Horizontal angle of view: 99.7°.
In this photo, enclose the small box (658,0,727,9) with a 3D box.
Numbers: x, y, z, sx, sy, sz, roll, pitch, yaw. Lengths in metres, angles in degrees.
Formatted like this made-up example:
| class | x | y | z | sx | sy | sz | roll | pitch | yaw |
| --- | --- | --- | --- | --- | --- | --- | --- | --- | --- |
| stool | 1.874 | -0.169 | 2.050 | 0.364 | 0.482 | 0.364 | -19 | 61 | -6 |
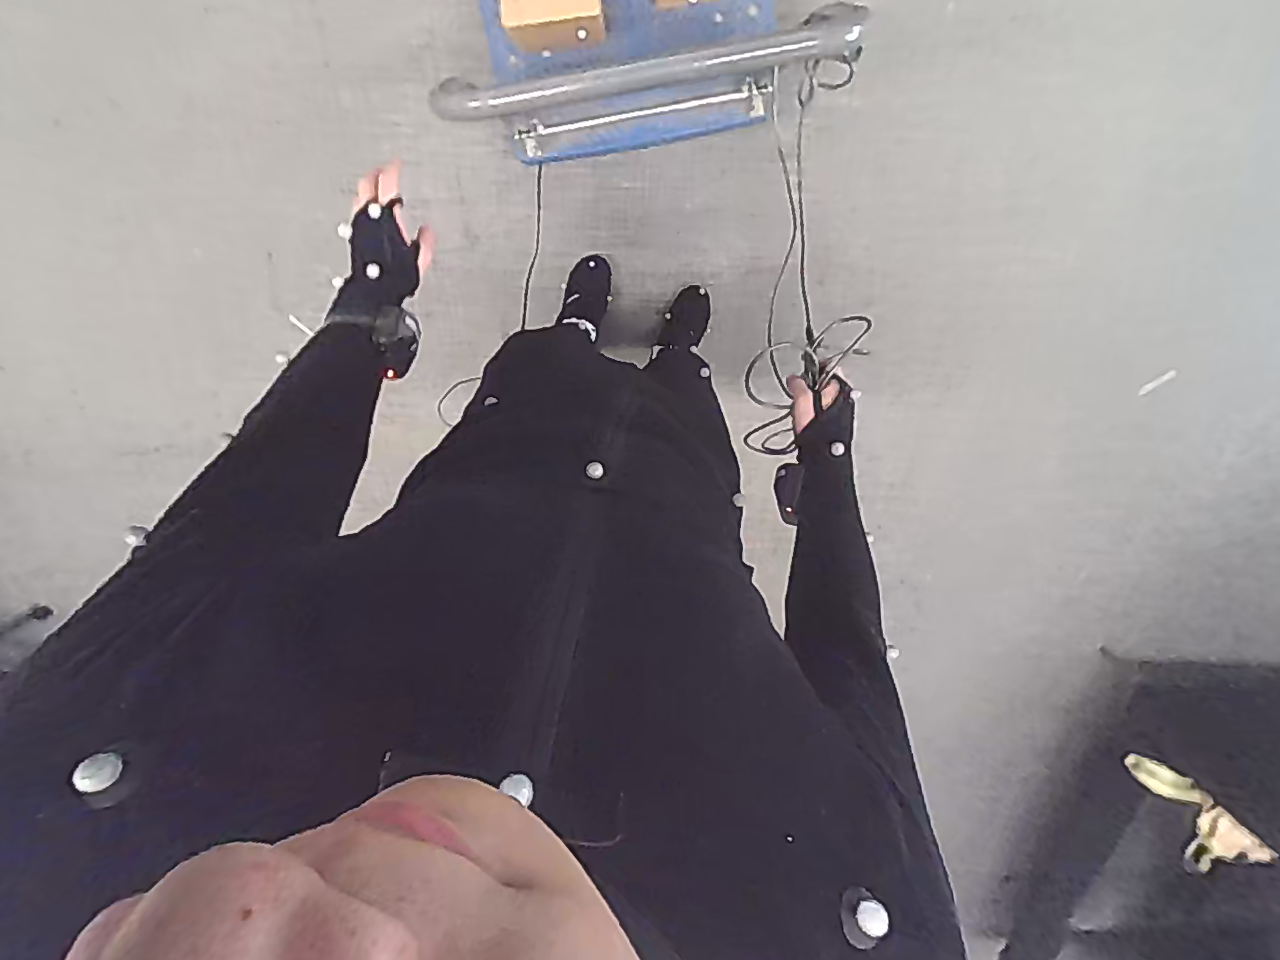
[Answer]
| class | x | y | z | sx | sy | sz | roll | pitch | yaw |
| --- | --- | --- | --- | --- | --- | --- | --- | --- | --- |
| small box | 0.101 | -0.974 | 0.948 | 0.168 | 0.176 | 0.179 | -5 | 116 | 4 |
